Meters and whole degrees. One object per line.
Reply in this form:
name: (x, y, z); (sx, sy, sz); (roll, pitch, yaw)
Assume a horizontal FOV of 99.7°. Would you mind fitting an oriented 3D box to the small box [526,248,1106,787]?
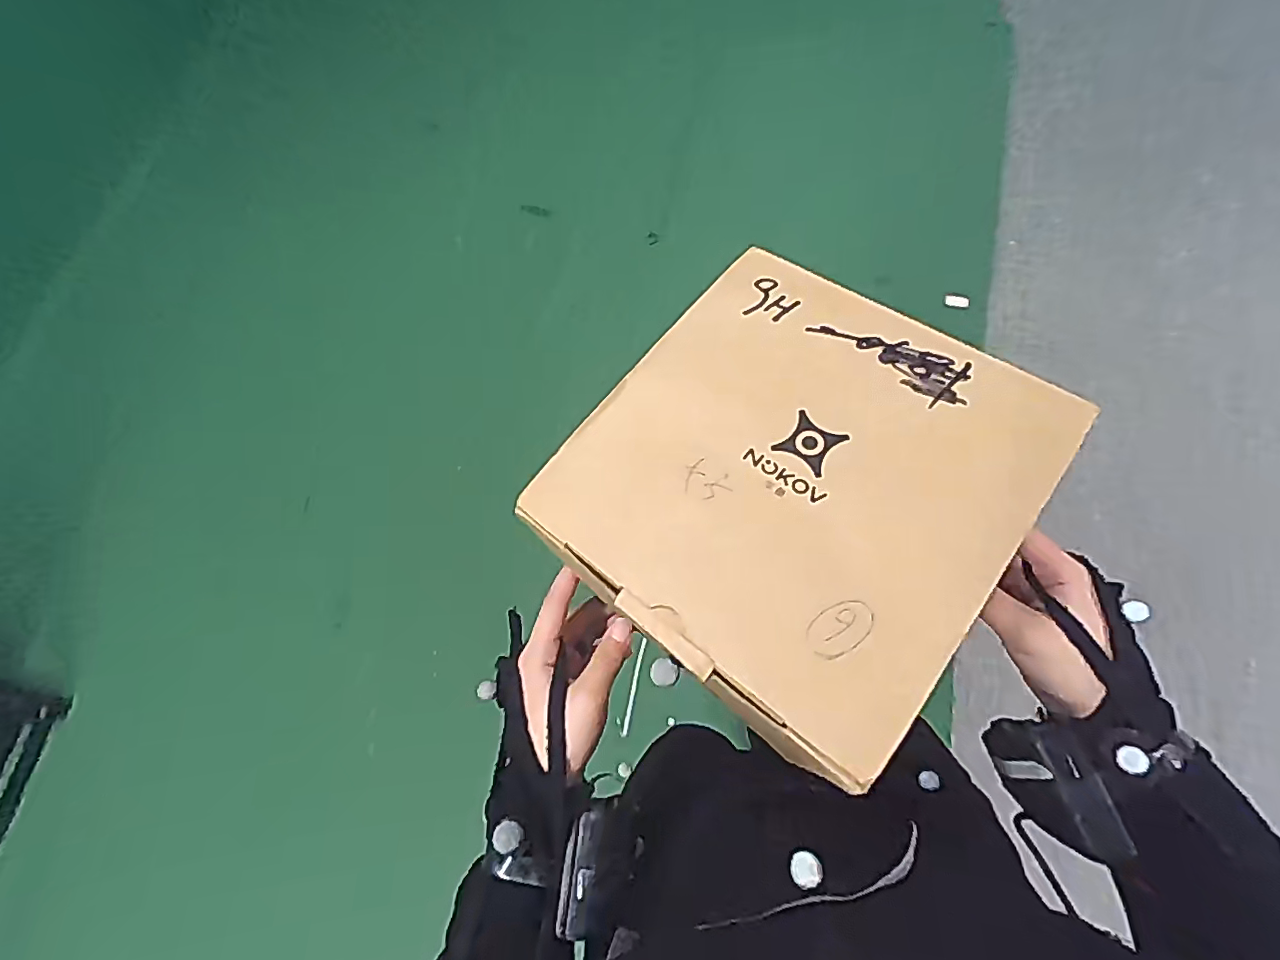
small box: (0.077, 0.025, 0.291); (0.168, 0.176, 0.179); (37, 76, 21)
